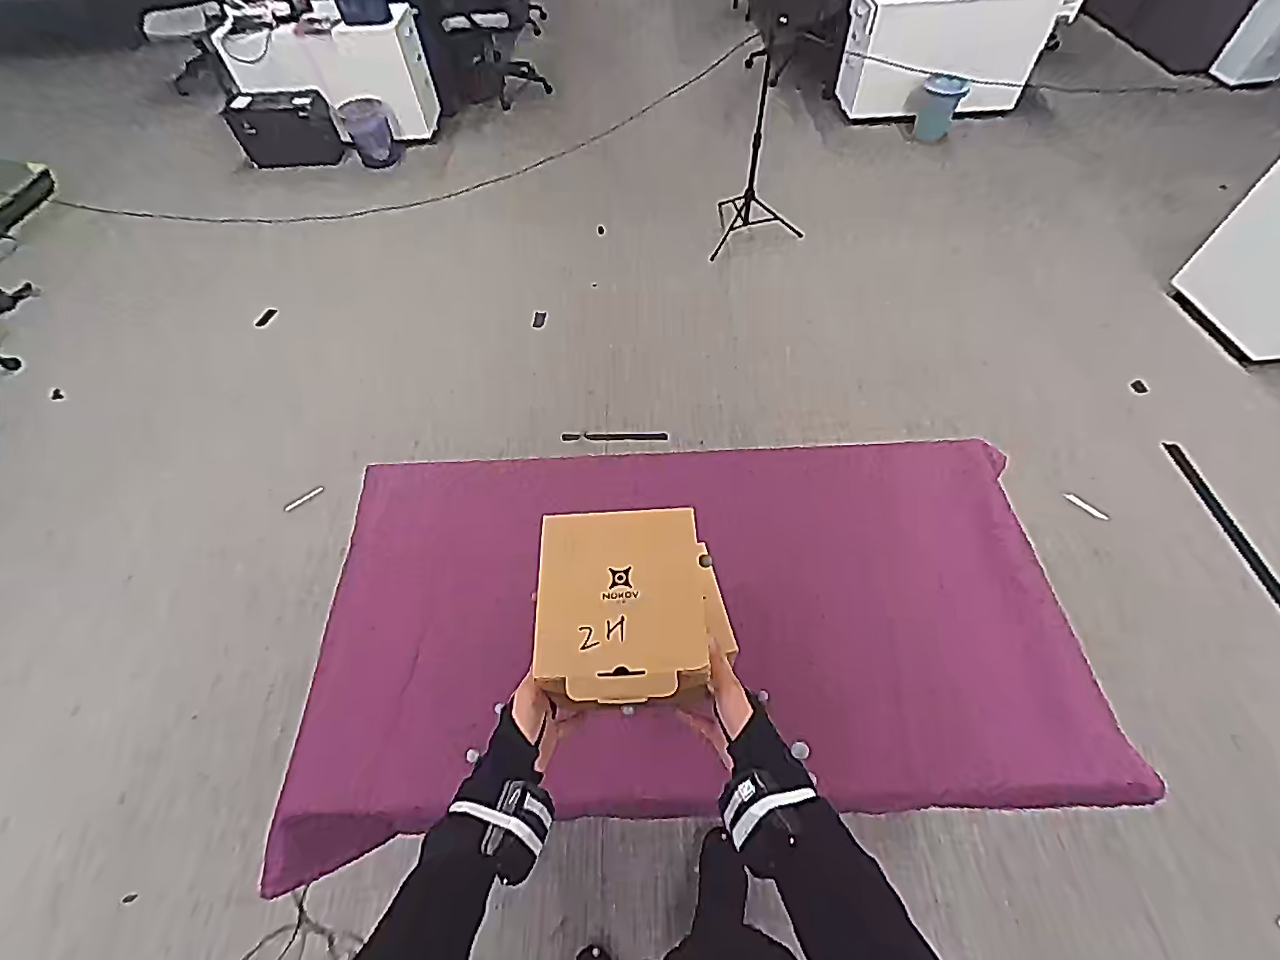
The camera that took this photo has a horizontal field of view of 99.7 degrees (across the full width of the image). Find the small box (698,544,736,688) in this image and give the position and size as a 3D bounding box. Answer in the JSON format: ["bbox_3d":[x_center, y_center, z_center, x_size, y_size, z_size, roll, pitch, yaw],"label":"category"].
[{"bbox_3d":[0.030,0.219,0.807,0.179,0.176,0.168,-10,56,-6],"label":"small box"}]

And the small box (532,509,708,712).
[{"bbox_3d":[-0.017,0.150,0.608,0.168,0.176,0.179,-3,57,2],"label":"small box"}]
